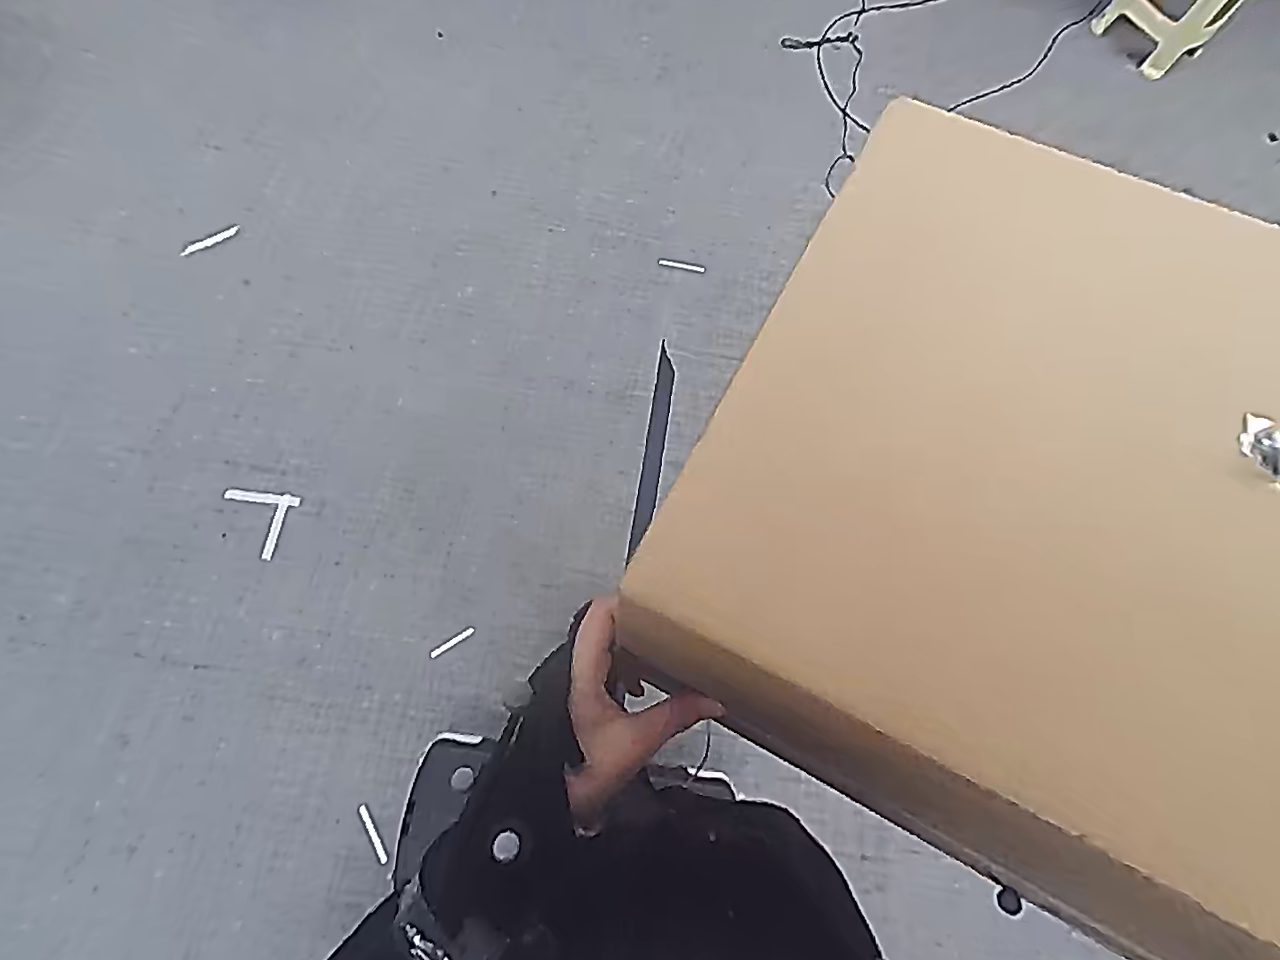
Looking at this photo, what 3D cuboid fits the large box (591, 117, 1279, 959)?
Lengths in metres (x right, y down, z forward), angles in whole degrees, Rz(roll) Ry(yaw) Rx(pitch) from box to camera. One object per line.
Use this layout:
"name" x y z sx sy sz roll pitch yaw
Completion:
"large box" 0.224 0.056 0.343 0.408 0.320 0.320 25 70 10

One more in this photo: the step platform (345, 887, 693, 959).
"step platform" -0.207 0.989 0.958 0.684 0.204 0.286 14 71 1
